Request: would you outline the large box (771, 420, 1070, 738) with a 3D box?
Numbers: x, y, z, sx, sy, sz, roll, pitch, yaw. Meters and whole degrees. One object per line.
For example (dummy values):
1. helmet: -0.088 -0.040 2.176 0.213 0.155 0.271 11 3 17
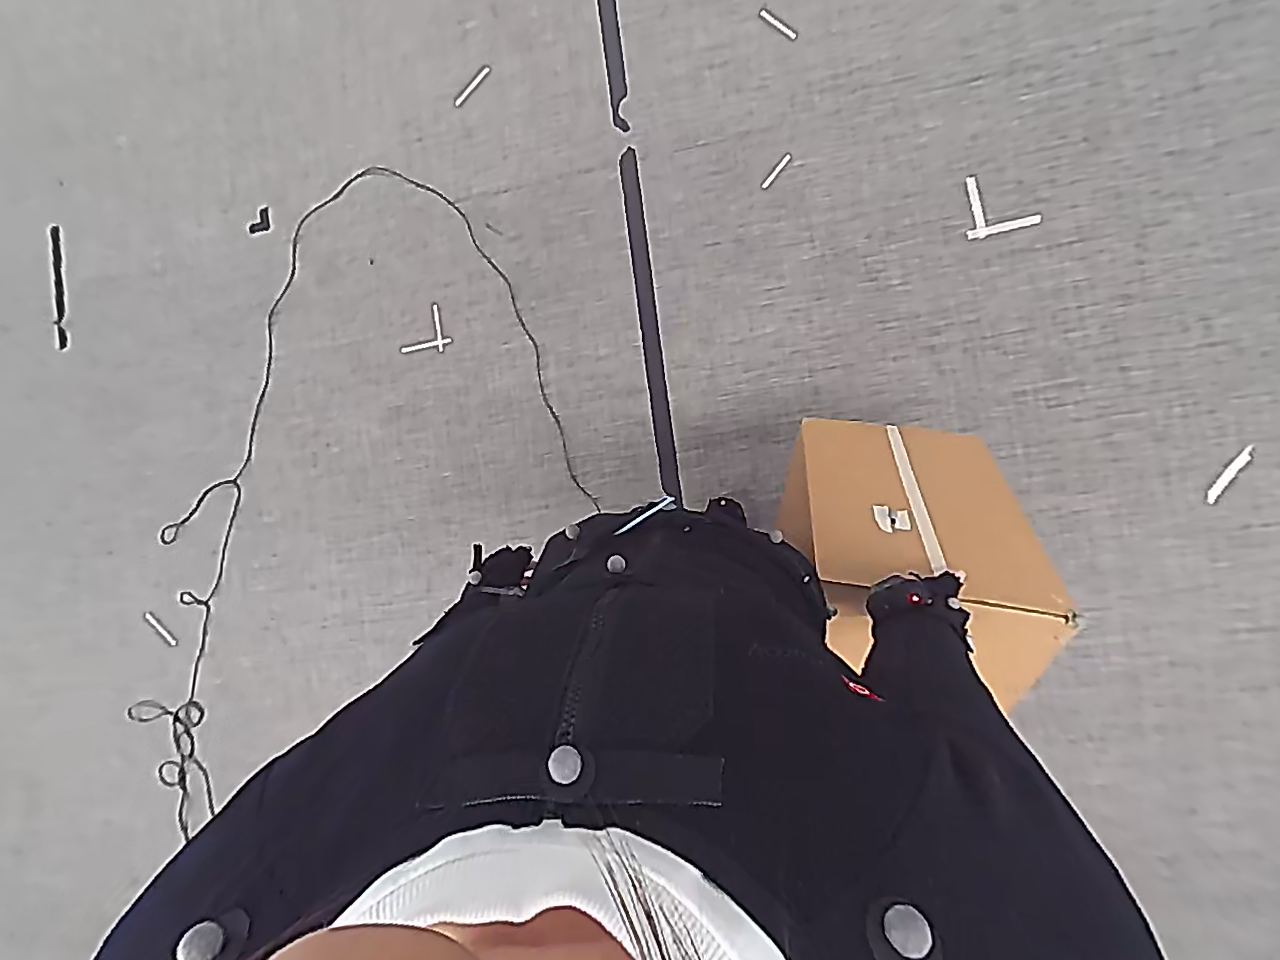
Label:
1. large box: 0.403 0.147 0.914 0.320 0.408 0.320 7 130 9
